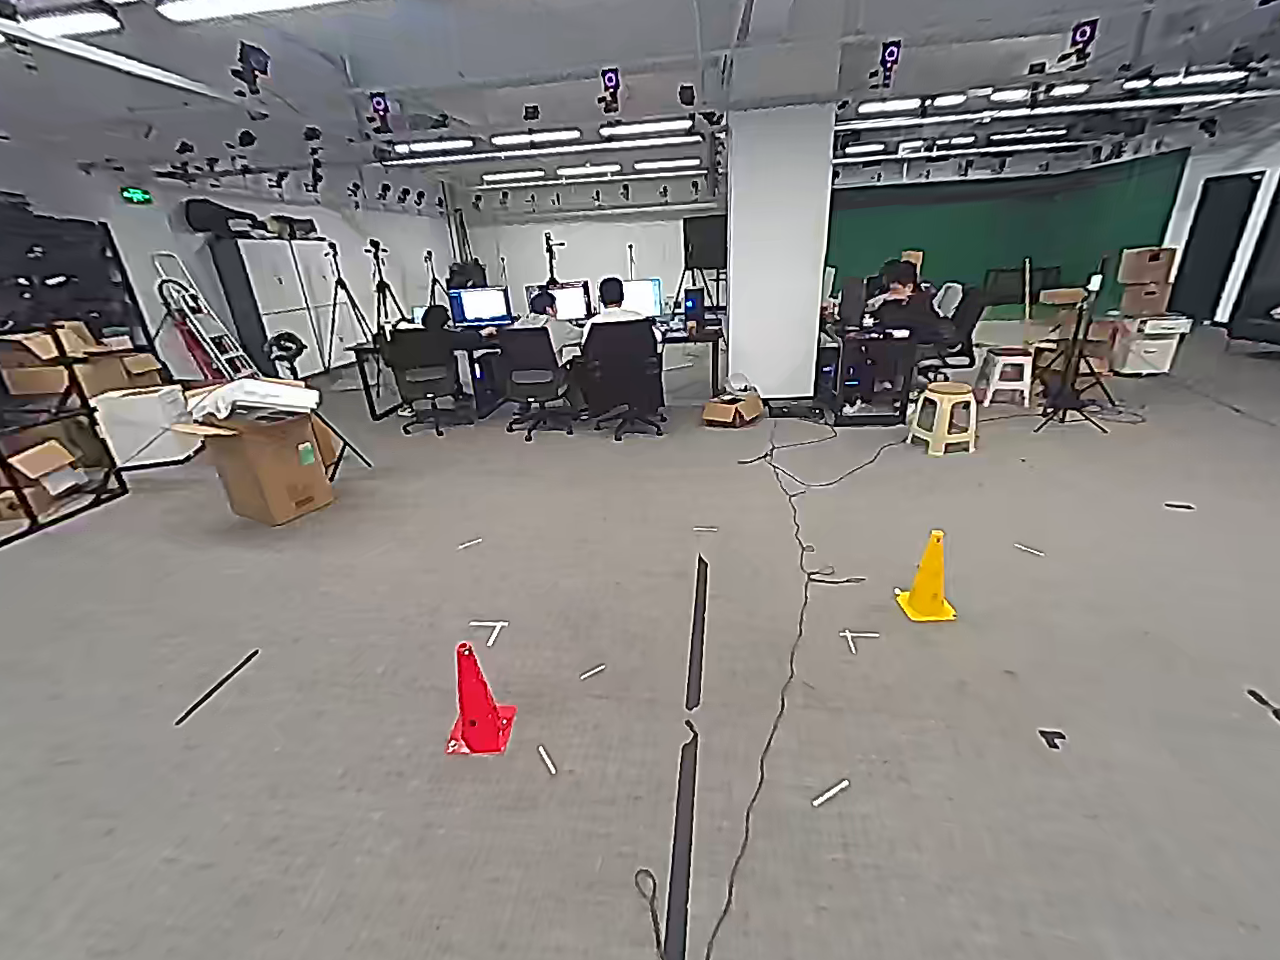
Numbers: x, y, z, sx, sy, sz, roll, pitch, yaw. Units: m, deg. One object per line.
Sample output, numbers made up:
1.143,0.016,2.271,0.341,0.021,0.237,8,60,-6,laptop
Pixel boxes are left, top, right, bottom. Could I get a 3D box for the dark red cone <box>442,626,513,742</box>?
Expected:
-0.545,0.647,1.747,0.201,0.394,0.202,-2,23,1,dark red cone
